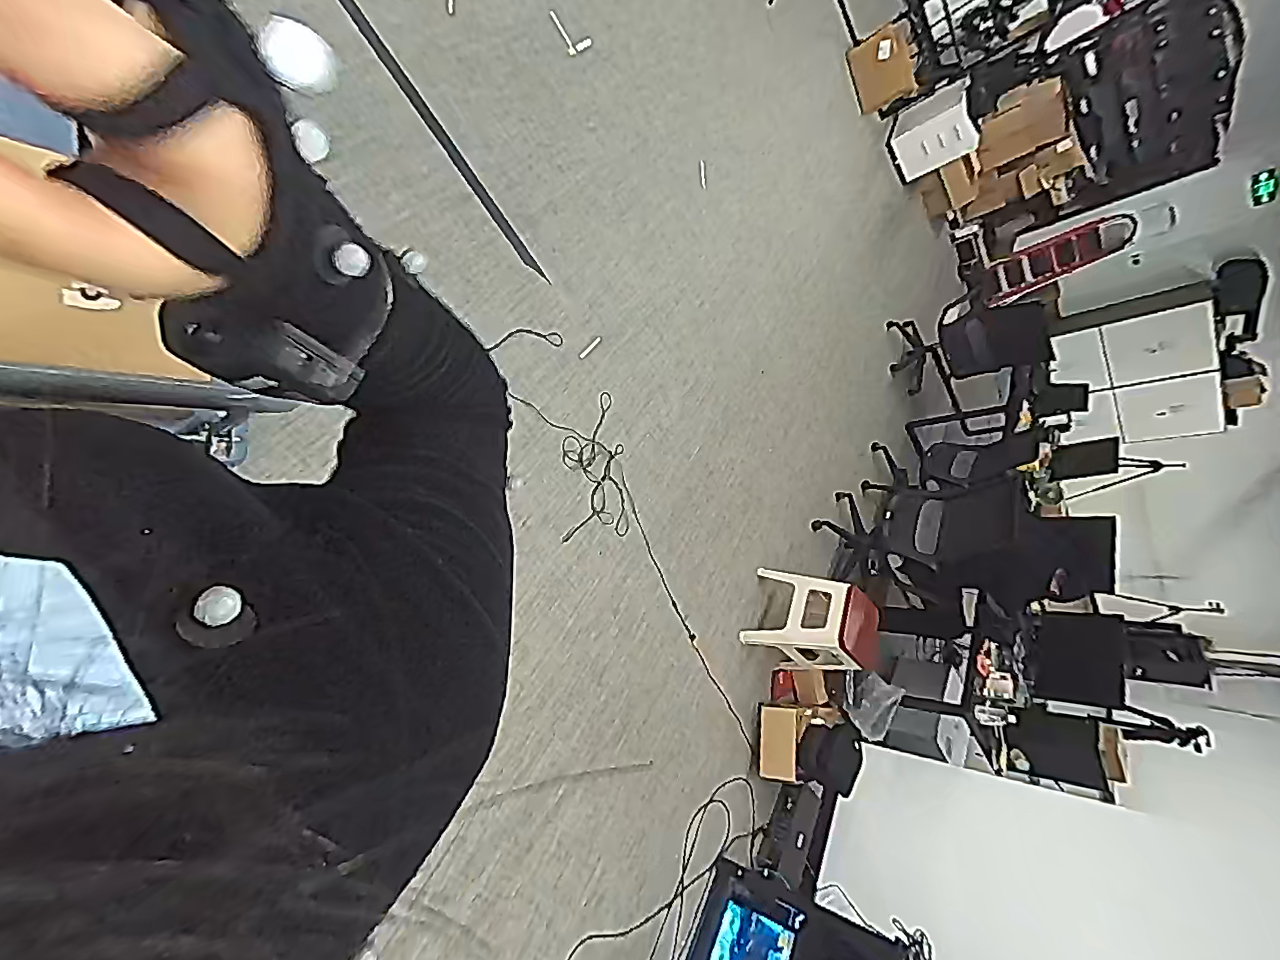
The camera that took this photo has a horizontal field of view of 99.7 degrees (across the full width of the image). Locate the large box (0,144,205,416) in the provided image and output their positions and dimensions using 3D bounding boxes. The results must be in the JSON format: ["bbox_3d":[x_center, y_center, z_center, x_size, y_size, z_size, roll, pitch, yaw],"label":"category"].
[{"bbox_3d":[-0.955,-0.290,0.836,0.408,0.320,0.320,0,85,-46],"label":"large box"}]
